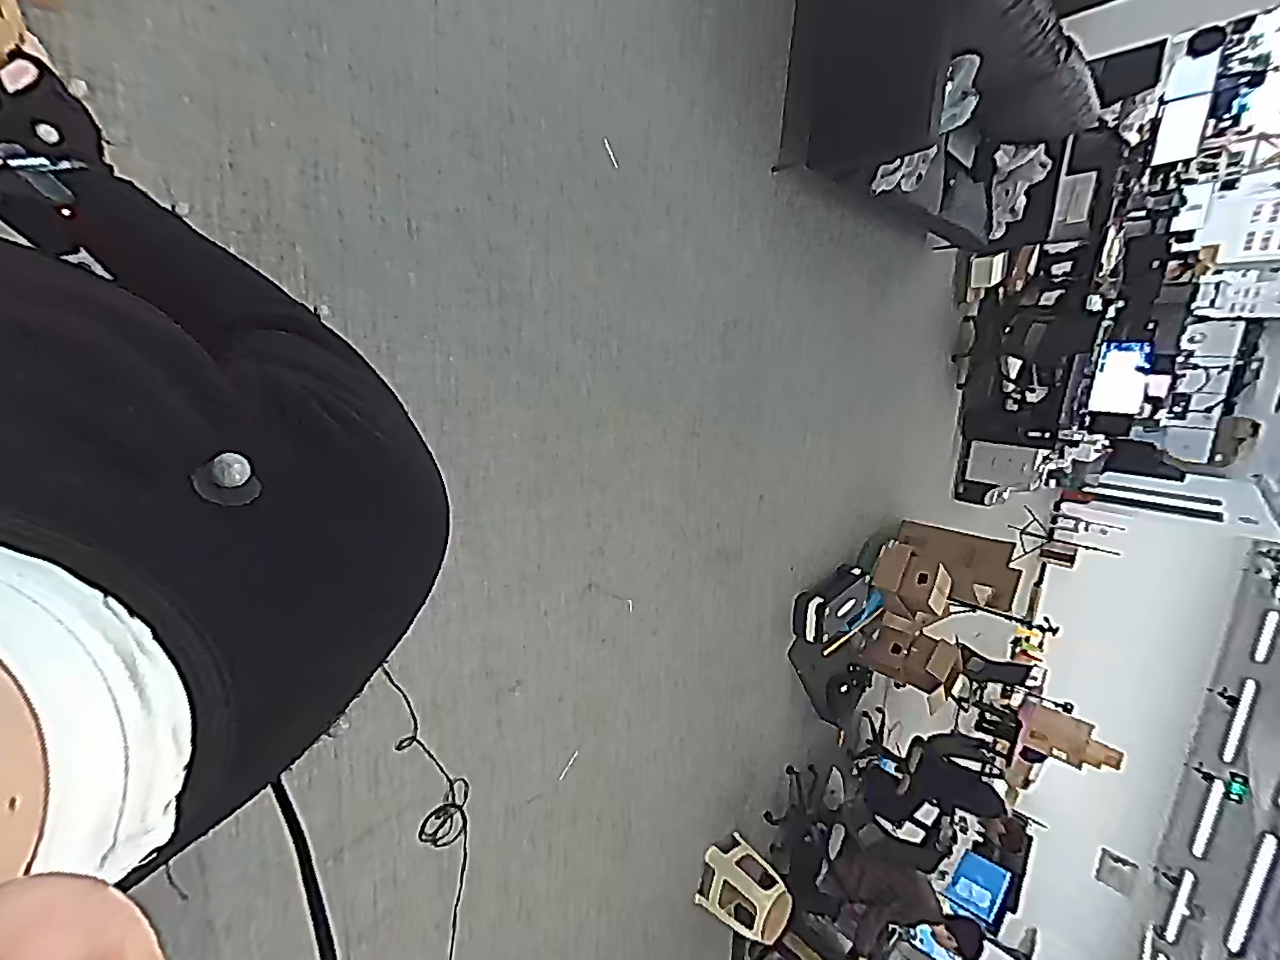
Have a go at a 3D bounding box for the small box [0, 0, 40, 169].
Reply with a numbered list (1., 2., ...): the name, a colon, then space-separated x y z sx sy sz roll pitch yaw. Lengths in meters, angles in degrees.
1. small box: -0.640 -0.382 0.446 0.179 0.176 0.168 -12 103 -42
